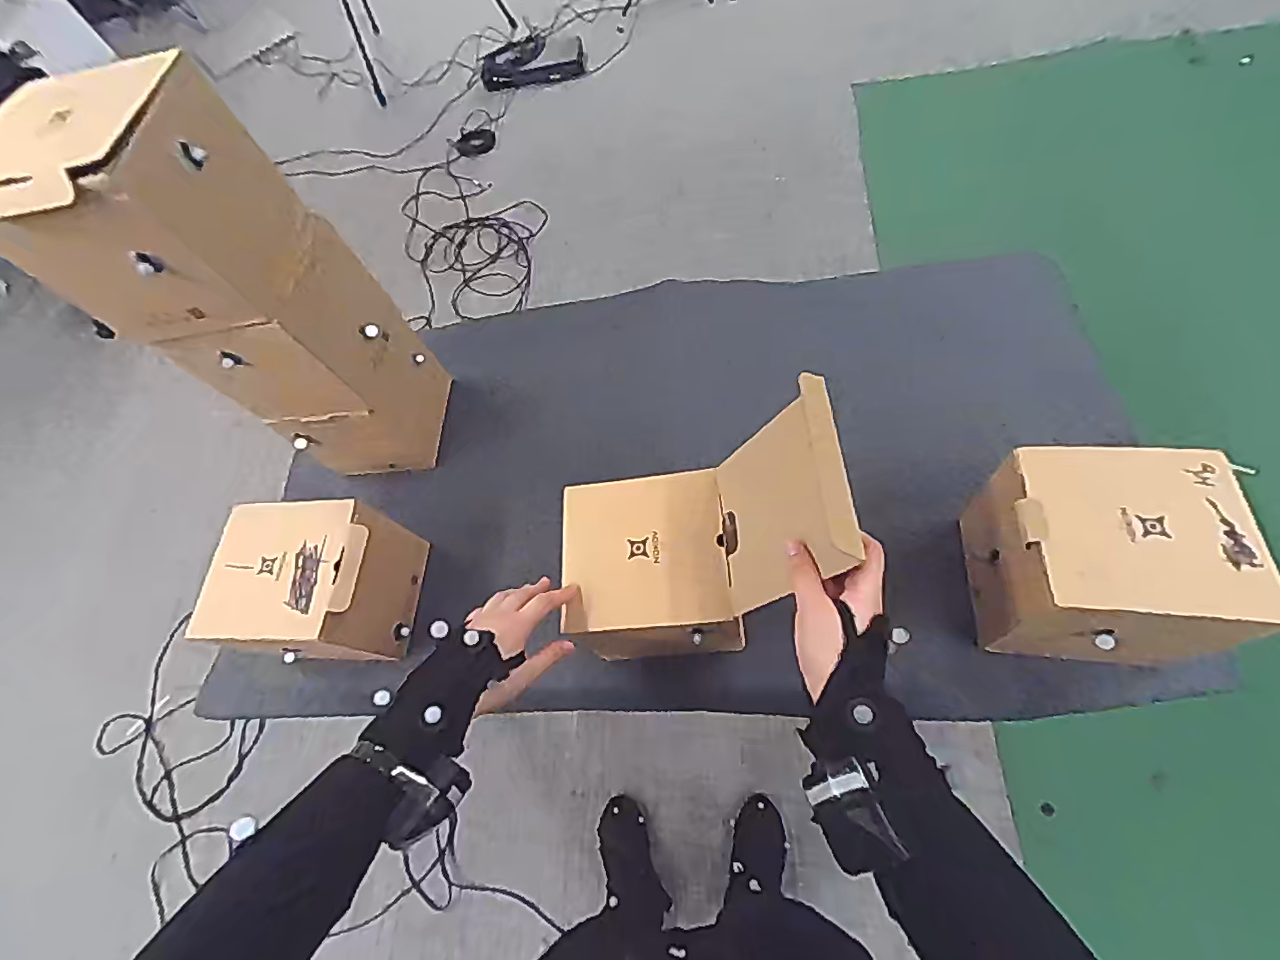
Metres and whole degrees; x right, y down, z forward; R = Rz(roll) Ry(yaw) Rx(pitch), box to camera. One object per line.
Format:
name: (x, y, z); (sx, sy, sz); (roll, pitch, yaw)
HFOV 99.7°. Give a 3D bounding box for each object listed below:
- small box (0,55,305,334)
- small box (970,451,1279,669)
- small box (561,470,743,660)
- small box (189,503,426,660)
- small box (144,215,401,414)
small box: (-0.470, -0.261, 0.529); (0.168, 0.176, 0.179); (-6, 63, 7)
small box: (0.457, 0.085, 0.545); (0.179, 0.176, 0.168); (2, 61, 13)
small box: (0.020, 0.108, 0.627); (0.179, 0.176, 0.168); (-7, 62, 9)
small box: (-0.405, 0.136, 0.696); (0.179, 0.176, 0.168); (-2, 65, 10)
small box: (-0.435, -0.193, 0.673); (0.179, 0.176, 0.168); (-3, 65, 9)
